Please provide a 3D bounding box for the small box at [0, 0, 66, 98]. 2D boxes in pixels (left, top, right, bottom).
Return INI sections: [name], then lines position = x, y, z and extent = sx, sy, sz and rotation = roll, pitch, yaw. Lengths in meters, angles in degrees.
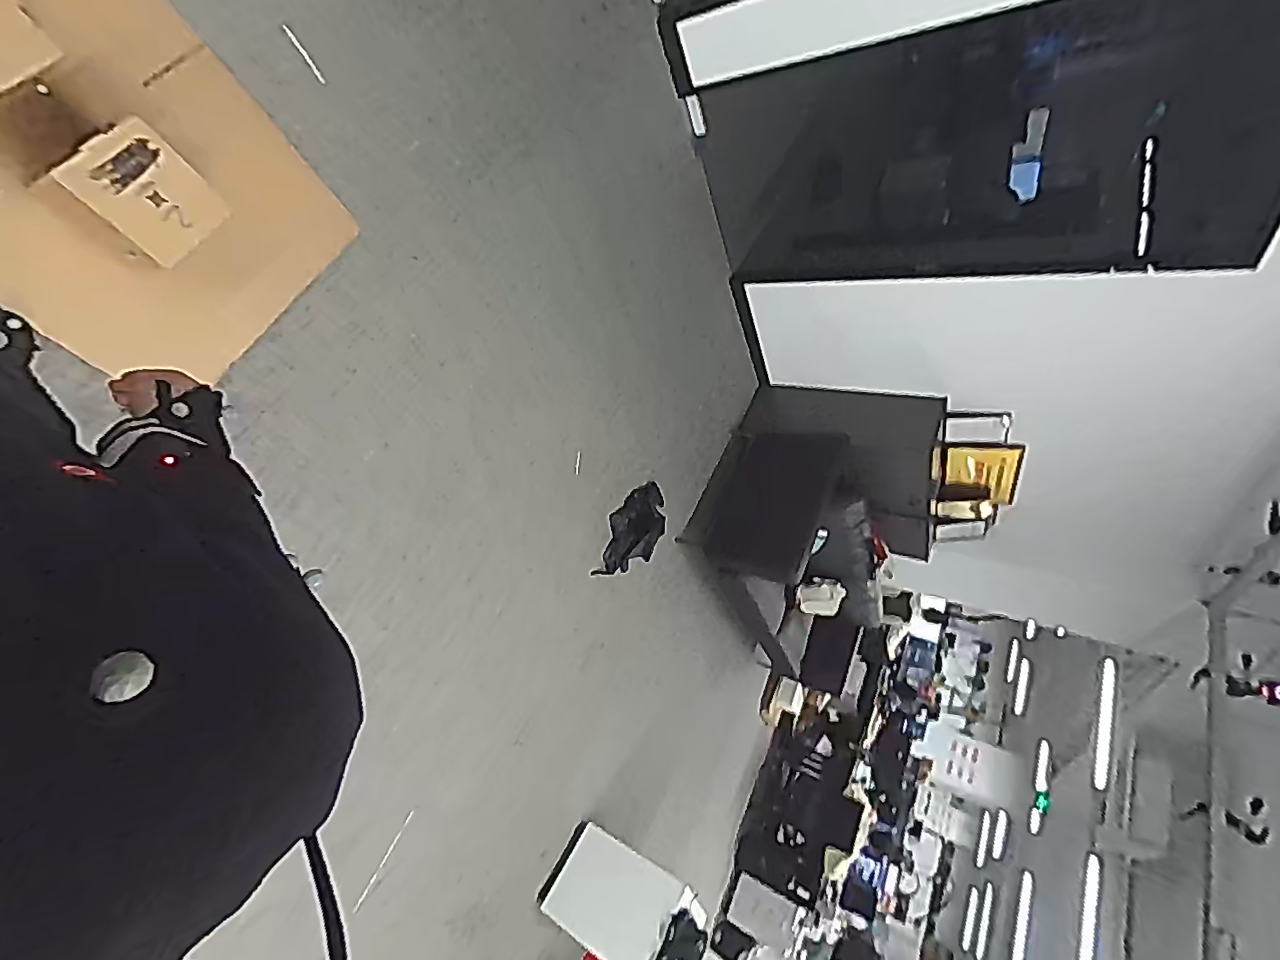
[small box]
position = -0.970, -0.628, 0.740
extent = 0.179, 0.176, 0.168
rotation = -61, 143, -23
